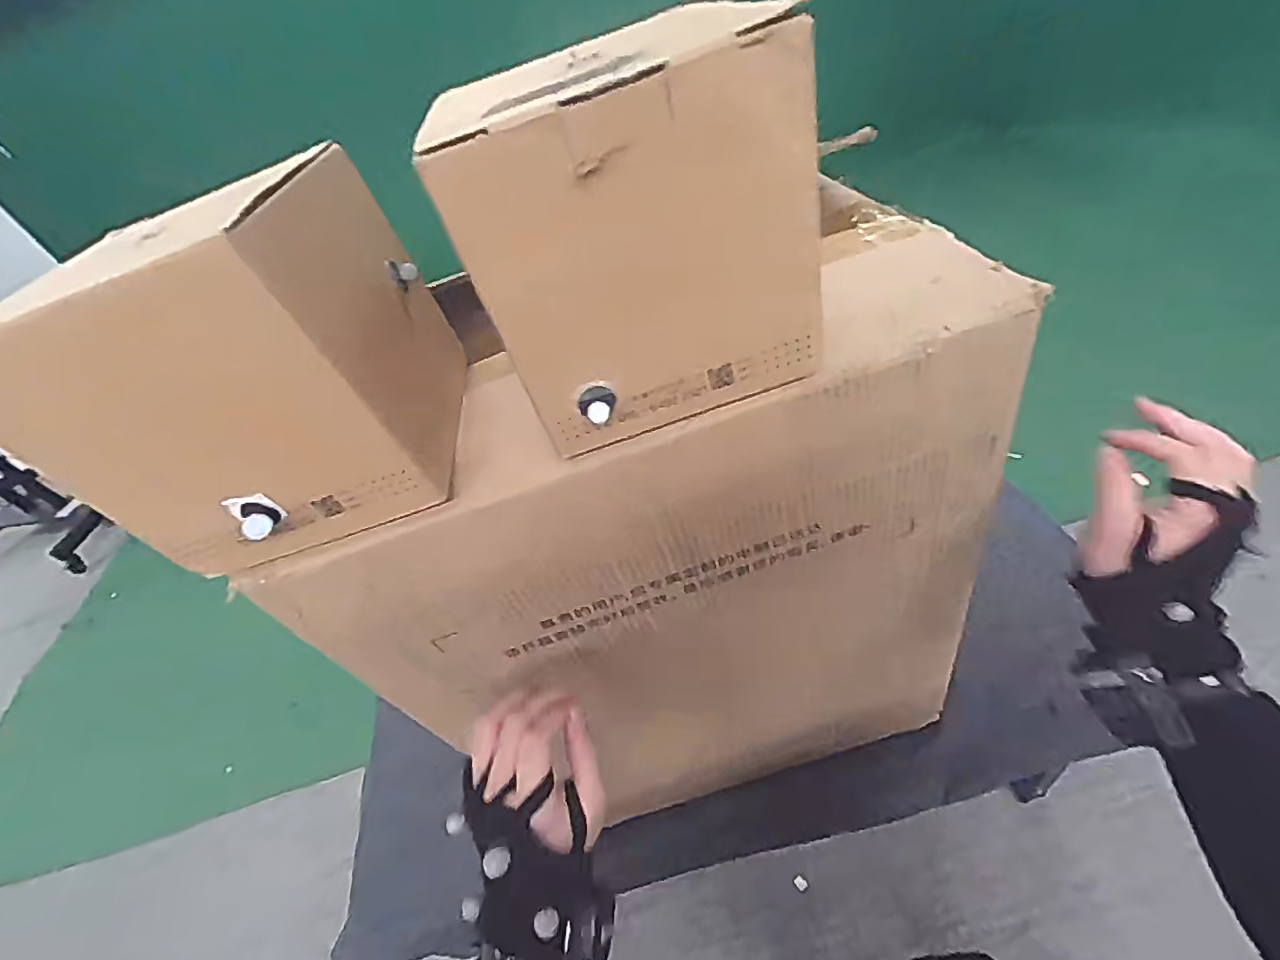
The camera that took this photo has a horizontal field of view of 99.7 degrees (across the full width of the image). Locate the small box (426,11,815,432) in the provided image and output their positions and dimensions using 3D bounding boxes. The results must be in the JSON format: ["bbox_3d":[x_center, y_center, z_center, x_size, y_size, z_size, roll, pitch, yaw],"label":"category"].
[{"bbox_3d":[-0.006,-0.148,0.329,0.168,0.176,0.179,-19,41,1],"label":"small box"}]

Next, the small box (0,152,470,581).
[{"bbox_3d":[-0.222,-0.069,0.339,0.168,0.176,0.179,-21,43,4],"label":"small box"}]
